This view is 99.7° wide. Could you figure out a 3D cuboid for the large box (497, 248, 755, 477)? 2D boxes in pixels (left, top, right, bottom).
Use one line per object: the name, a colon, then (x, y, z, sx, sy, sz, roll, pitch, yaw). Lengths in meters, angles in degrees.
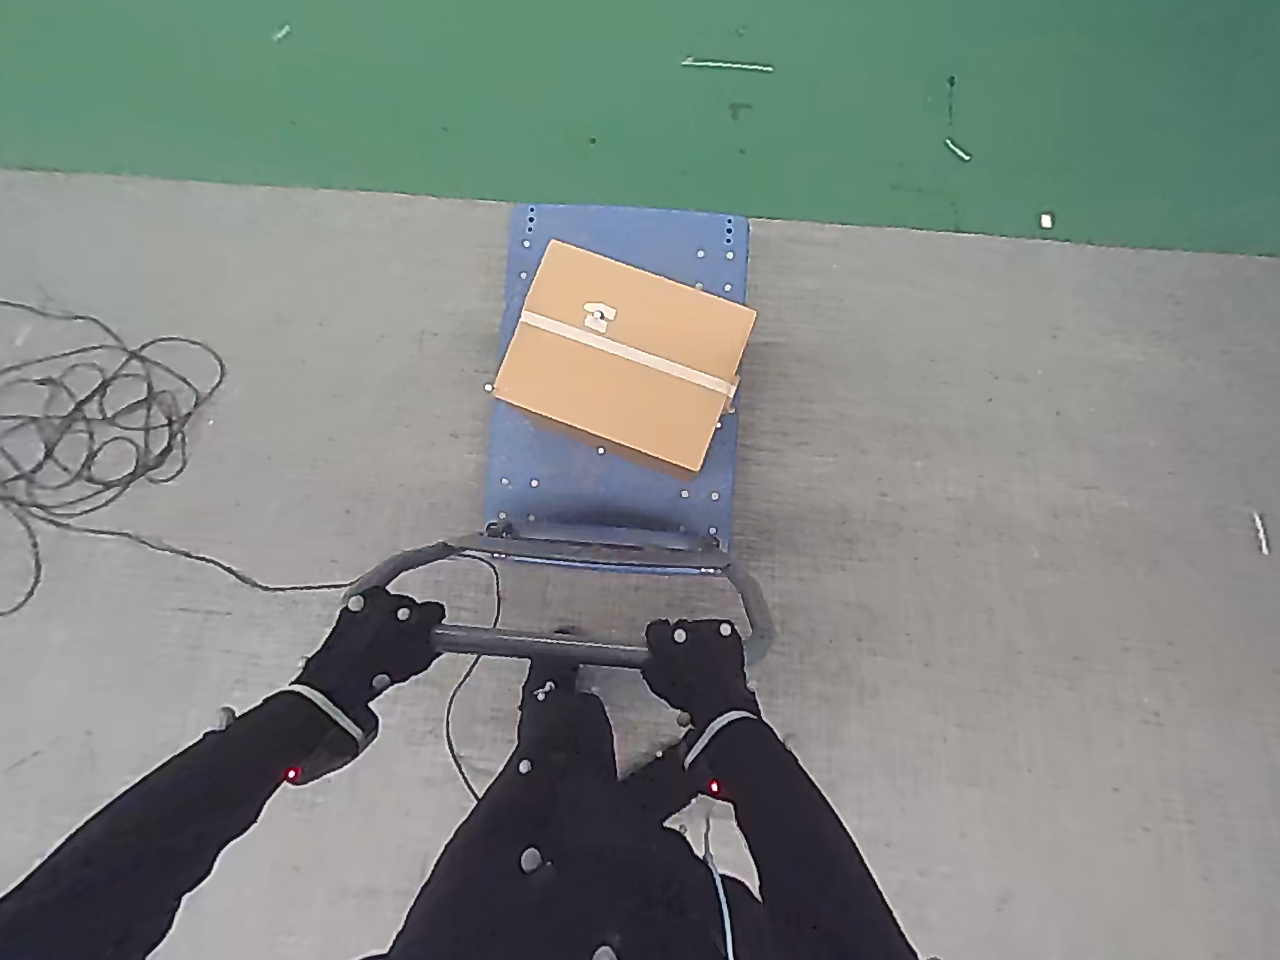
large box: (-0.016, -0.215, 1.121, 0.408, 0.320, 0.320, 20, 87, 4)
